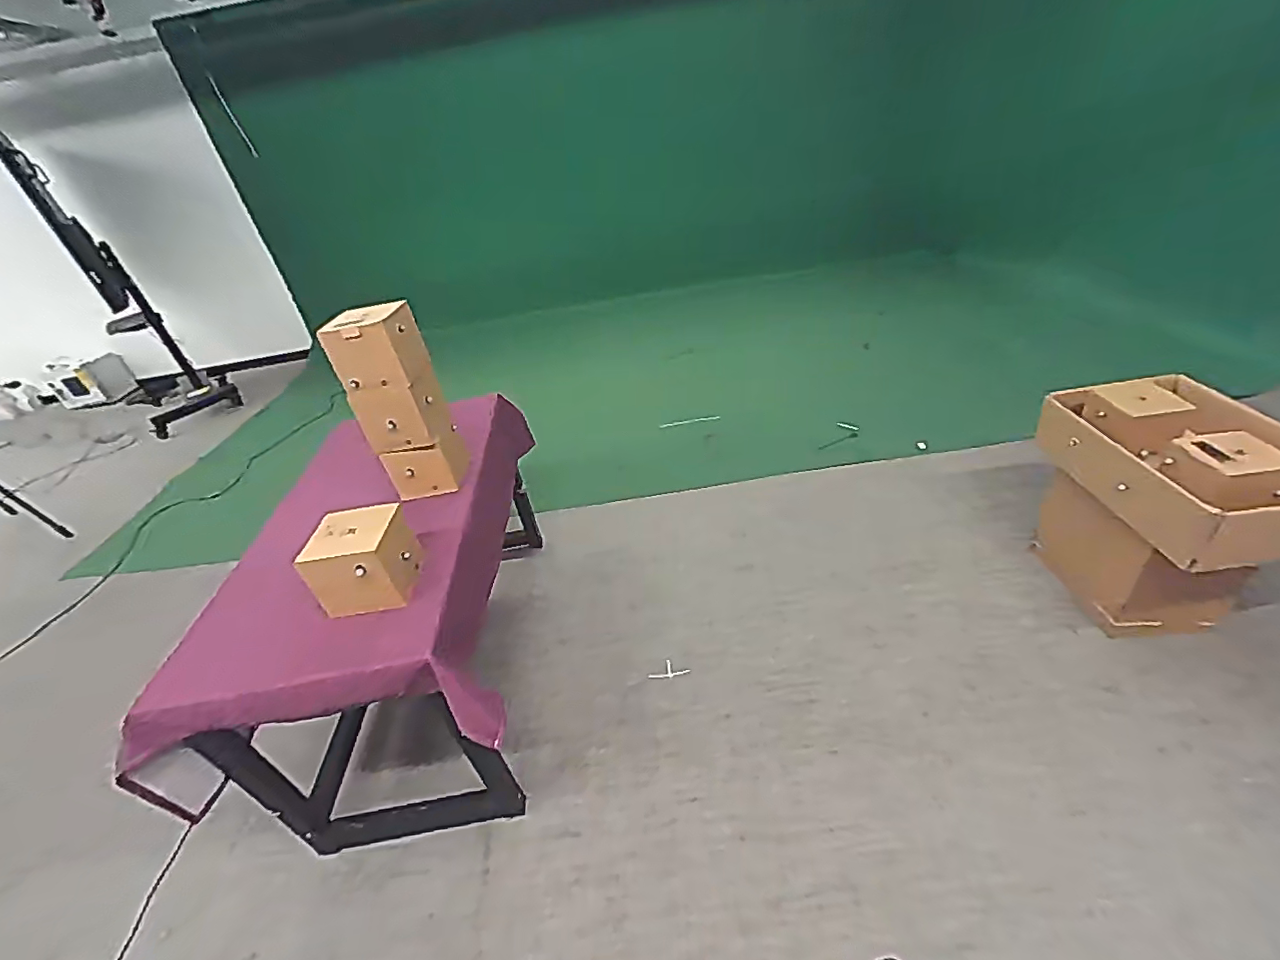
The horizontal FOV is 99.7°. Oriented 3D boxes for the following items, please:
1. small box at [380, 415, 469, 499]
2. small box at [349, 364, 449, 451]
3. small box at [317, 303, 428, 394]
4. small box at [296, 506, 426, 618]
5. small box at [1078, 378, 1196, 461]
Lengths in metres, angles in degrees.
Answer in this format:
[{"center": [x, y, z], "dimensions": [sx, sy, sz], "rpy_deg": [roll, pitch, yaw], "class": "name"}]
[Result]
[{"center": [-0.609, -0.060, 1.552], "dimensions": [0.168, 0.176, 0.179], "rpy_deg": [-11, 34, 2], "class": "small box"}, {"center": [-0.636, -0.189, 1.453], "dimensions": [0.168, 0.176, 0.179], "rpy_deg": [-8, 35, 5], "class": "small box"}, {"center": [-0.662, -0.327, 1.367], "dimensions": [0.168, 0.176, 0.179], "rpy_deg": [-9, 33, 4], "class": "small box"}, {"center": [-0.604, 0.183, 1.200], "dimensions": [0.179, 0.176, 0.168], "rpy_deg": [-10, 34, 3], "class": "small box"}, {"center": [1.437, -0.176, 1.580], "dimensions": [0.168, 0.176, 0.179], "rpy_deg": [-8, 36, 6], "class": "small box"}]
